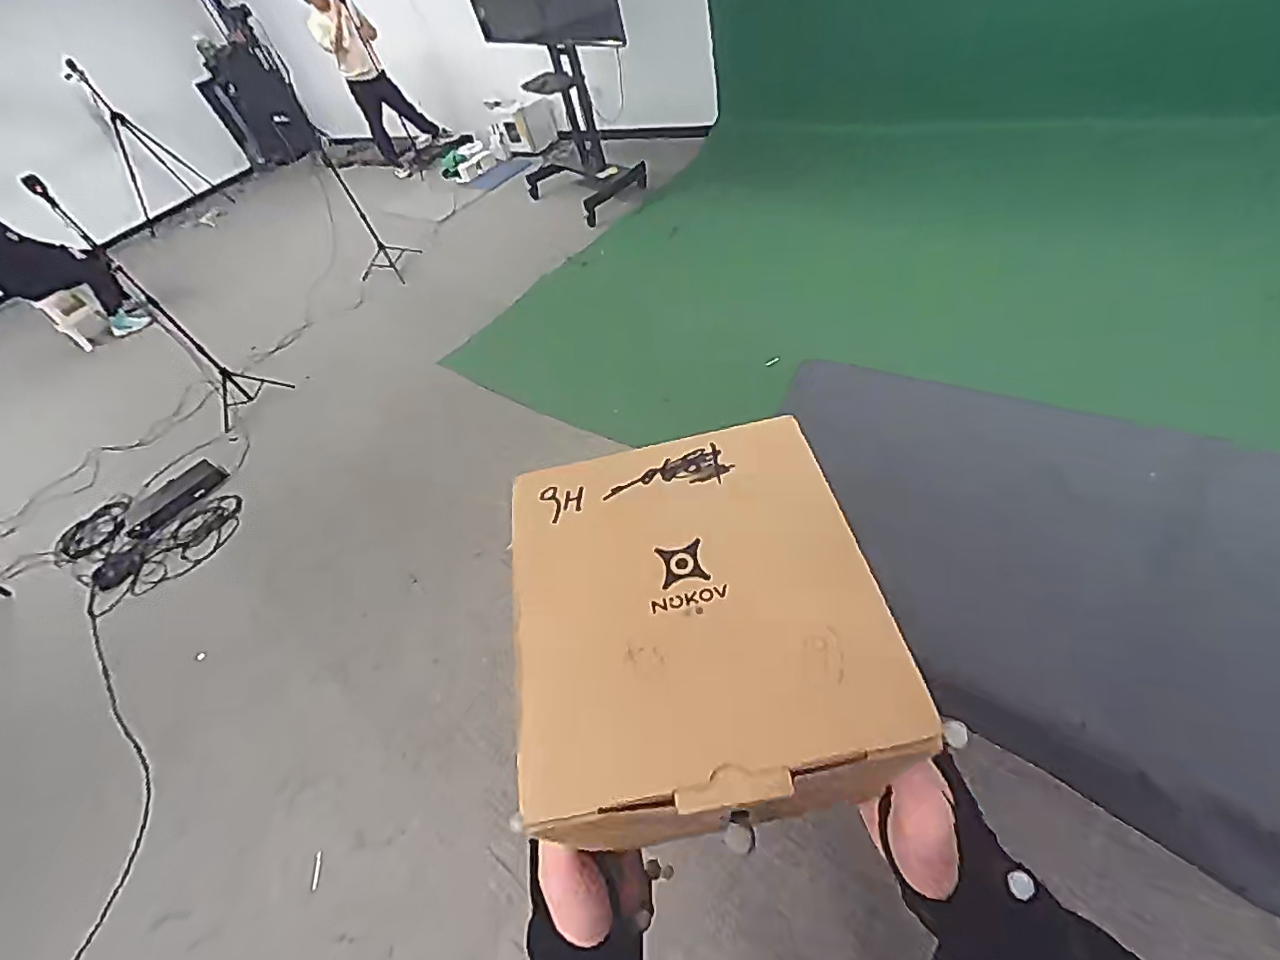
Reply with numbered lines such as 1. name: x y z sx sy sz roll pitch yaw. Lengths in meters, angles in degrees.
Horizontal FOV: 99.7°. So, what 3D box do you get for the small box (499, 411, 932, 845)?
1. small box: 0.027 0.092 0.310 0.168 0.176 0.179 -11 54 0
